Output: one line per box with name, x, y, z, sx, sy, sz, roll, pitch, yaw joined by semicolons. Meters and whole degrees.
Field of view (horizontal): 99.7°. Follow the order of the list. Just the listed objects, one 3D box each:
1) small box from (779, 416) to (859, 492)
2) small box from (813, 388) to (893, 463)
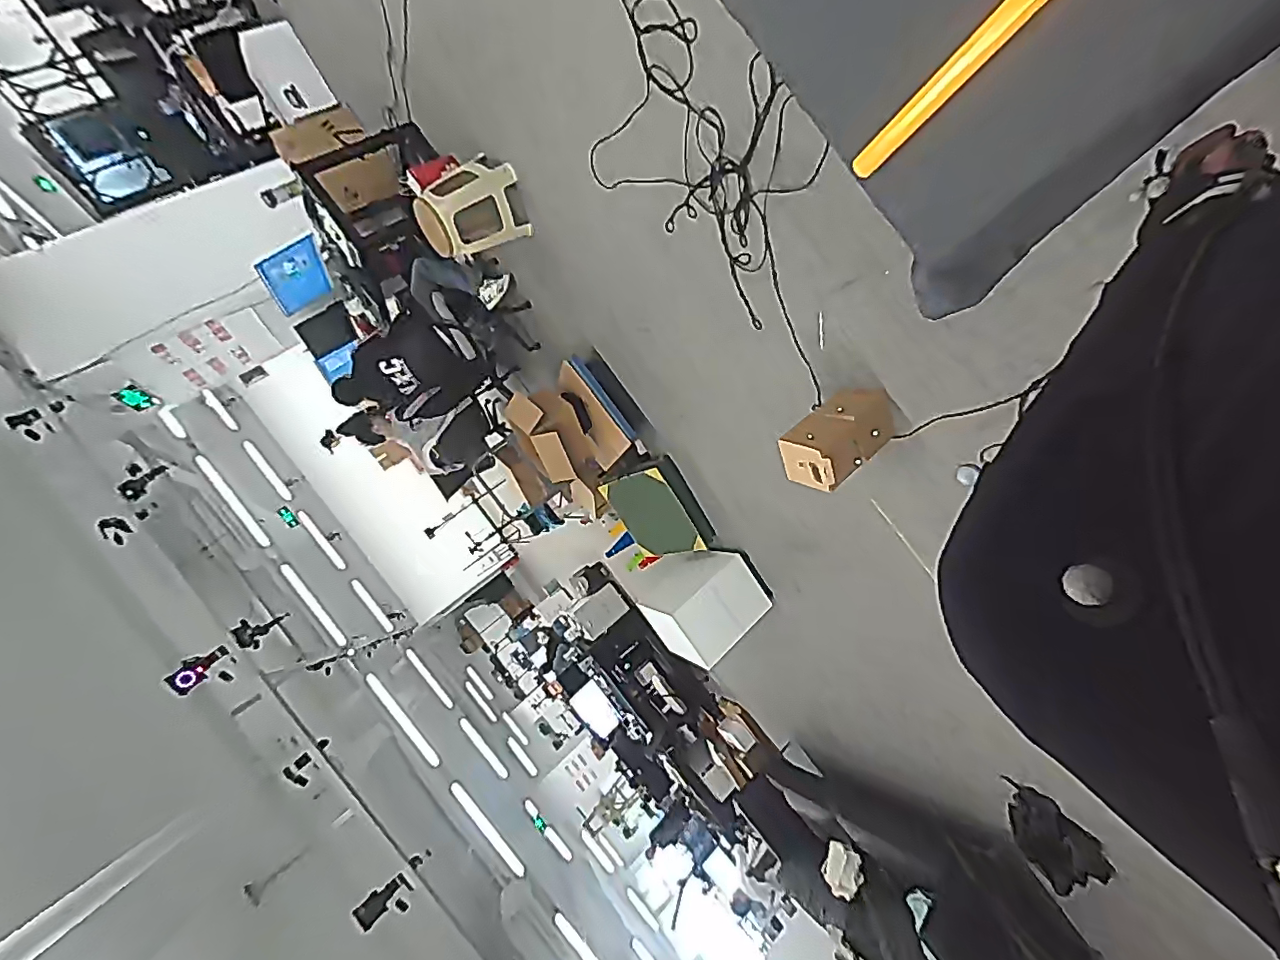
small box;0.582;-0.090;1.740;0.179;0.176;0.168;25;145;52
small box;0.710;-0.184;1.789;0.168;0.176;0.179;19;140;56
